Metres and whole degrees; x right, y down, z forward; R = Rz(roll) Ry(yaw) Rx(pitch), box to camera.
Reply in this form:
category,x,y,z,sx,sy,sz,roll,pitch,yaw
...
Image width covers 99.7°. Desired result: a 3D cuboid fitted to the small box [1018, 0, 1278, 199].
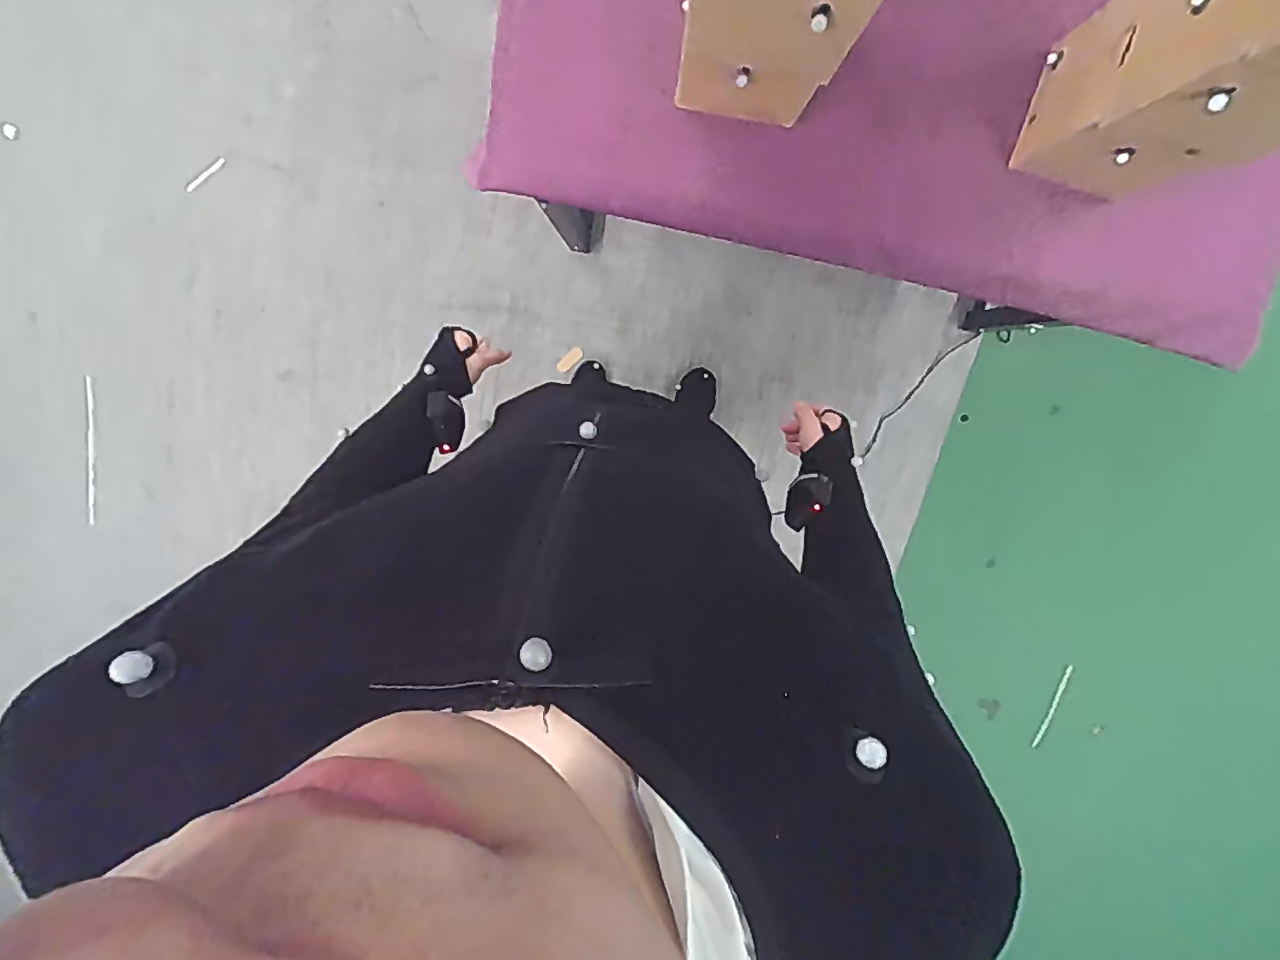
category,x,y,z,sx,sy,sz,roll,pitch,yaw
small box,0.646,-0.490,0.702,0.179,0.176,0.168,15,102,-2

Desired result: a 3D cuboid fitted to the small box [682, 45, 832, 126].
category,x,y,z,sx,sy,sz,roll,pitch,yaw
small box,0.157,-0.586,0.695,0.179,0.176,0.168,10,103,0

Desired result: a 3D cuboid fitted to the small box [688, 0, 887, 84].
category,x,y,z,sx,sy,sz,roll,pitch,yaw
small box,0.153,-0.534,0.537,0.179,0.176,0.168,12,102,-1
